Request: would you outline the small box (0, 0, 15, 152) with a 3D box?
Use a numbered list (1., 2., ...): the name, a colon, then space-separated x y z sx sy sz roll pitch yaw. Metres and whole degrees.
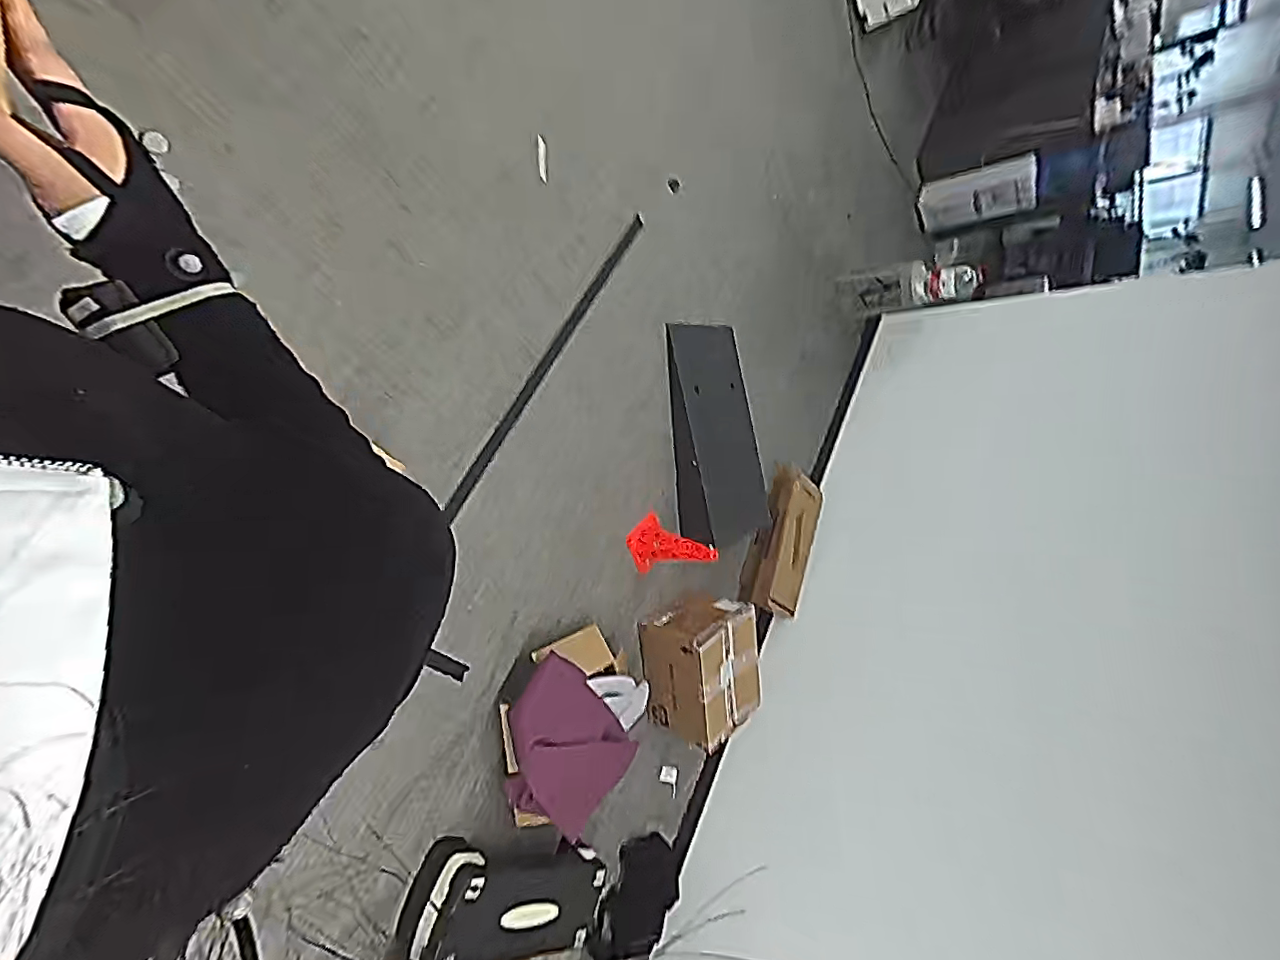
1. small box: -0.462 -0.298 0.280 0.168 0.176 0.179 -7 111 -48
